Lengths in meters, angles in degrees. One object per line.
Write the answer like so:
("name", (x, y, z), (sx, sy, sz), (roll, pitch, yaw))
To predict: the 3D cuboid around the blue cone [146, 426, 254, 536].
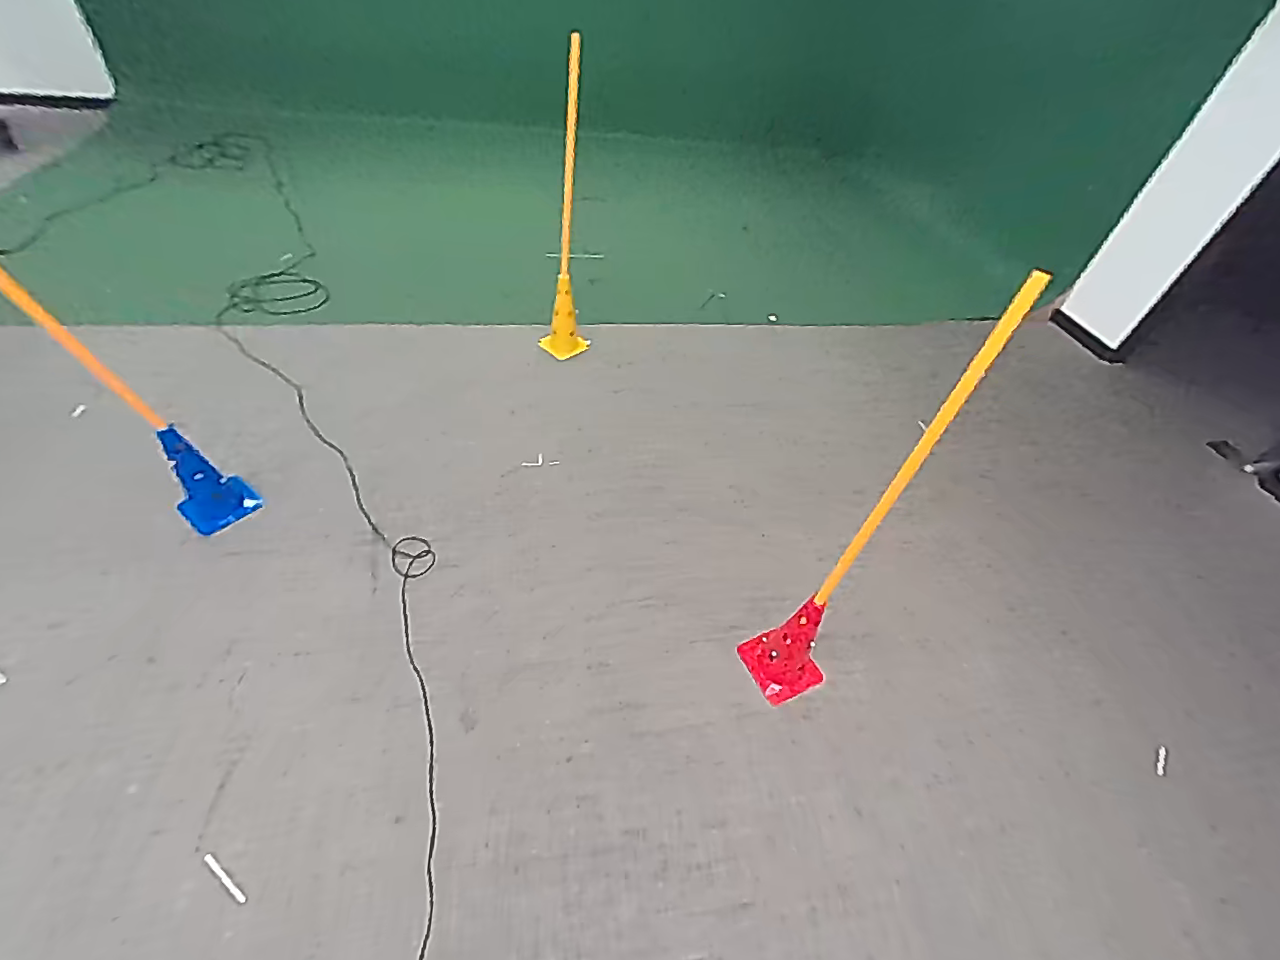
("blue cone", (-1.392, -0.015, 1.668), (0.192, 0.380, 0.193), (32, 53, 20))
